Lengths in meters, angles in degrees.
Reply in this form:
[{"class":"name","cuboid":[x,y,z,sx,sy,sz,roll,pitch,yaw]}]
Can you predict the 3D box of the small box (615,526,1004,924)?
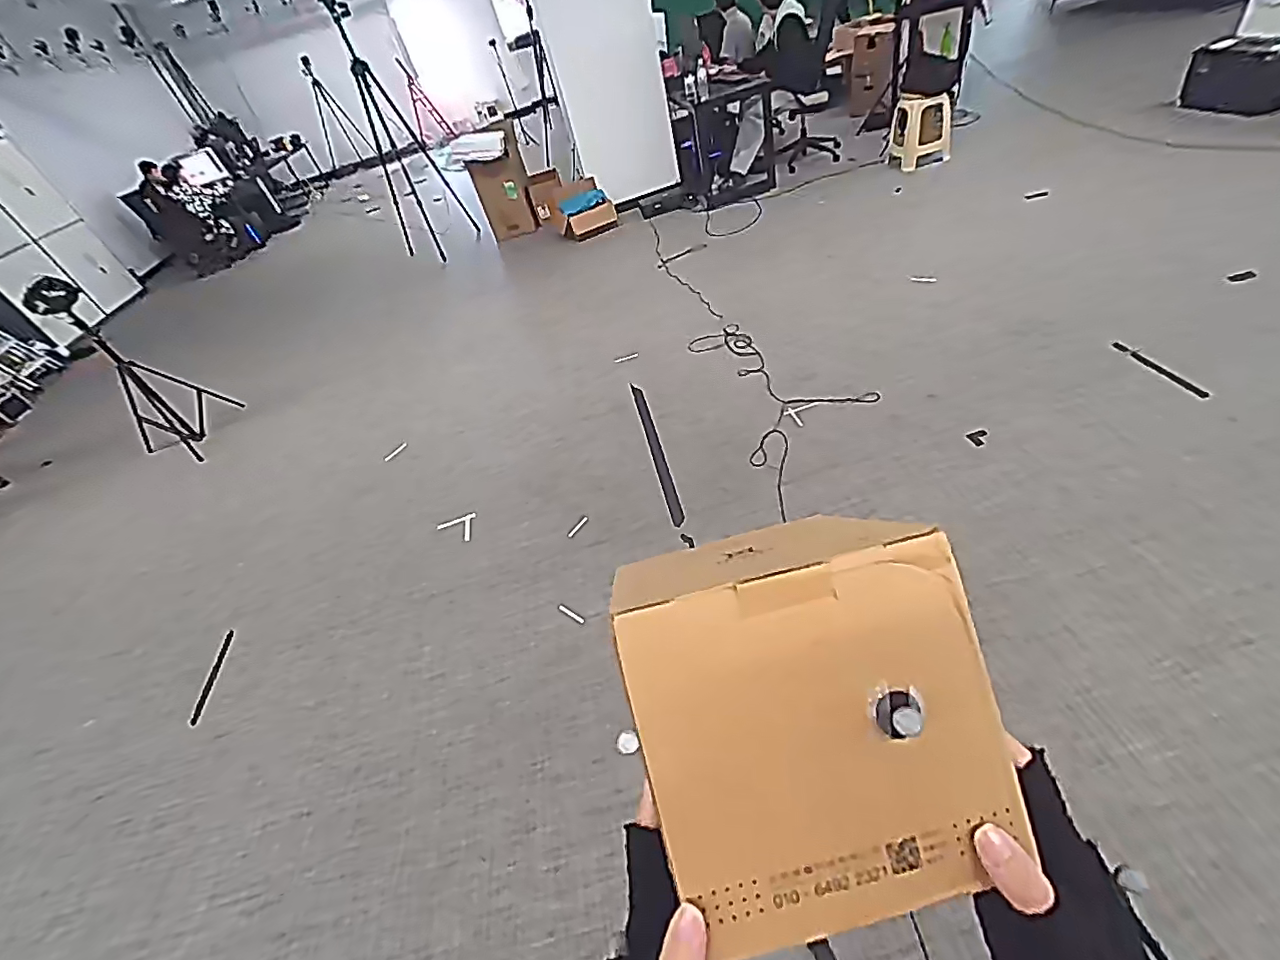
[{"class":"small box","cuboid":[0.087,0.136,0.347,0.168,0.176,0.179,-15,-2,-1]}]
